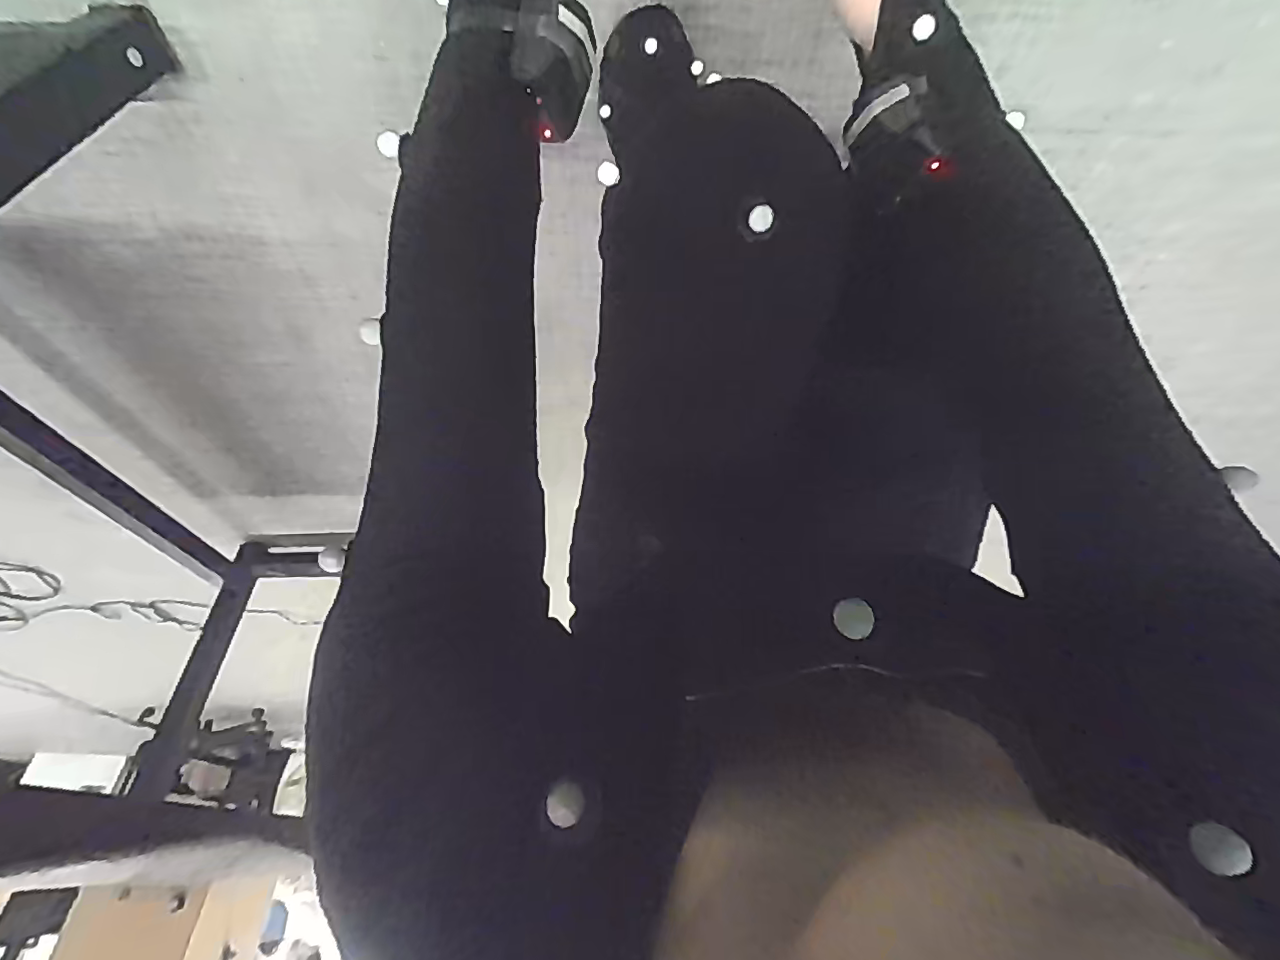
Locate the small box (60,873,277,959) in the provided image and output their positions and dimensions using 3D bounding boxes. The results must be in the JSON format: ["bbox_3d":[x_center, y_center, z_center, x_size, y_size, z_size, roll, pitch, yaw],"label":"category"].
[{"bbox_3d":[-0.640,0.640,0.728,0.168,0.176,0.179,1,146,-1],"label":"small box"}]
